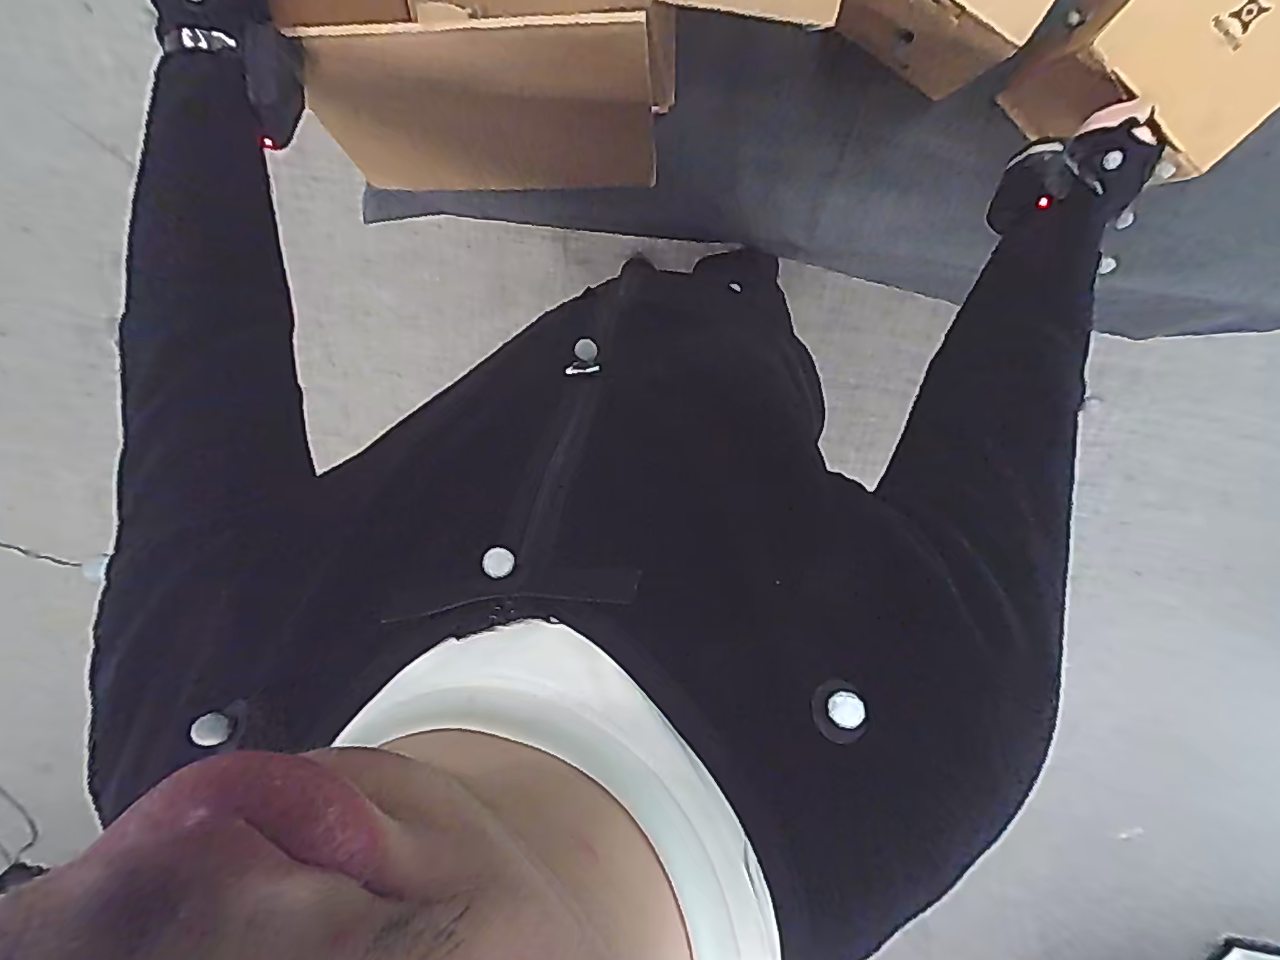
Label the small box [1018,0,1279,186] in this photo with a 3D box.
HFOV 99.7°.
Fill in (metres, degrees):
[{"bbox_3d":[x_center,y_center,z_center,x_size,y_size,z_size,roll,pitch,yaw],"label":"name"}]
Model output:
[{"bbox_3d":[0.517,-0.419,0.526,0.168,0.176,0.179,37,111,-10],"label":"small box"}]
